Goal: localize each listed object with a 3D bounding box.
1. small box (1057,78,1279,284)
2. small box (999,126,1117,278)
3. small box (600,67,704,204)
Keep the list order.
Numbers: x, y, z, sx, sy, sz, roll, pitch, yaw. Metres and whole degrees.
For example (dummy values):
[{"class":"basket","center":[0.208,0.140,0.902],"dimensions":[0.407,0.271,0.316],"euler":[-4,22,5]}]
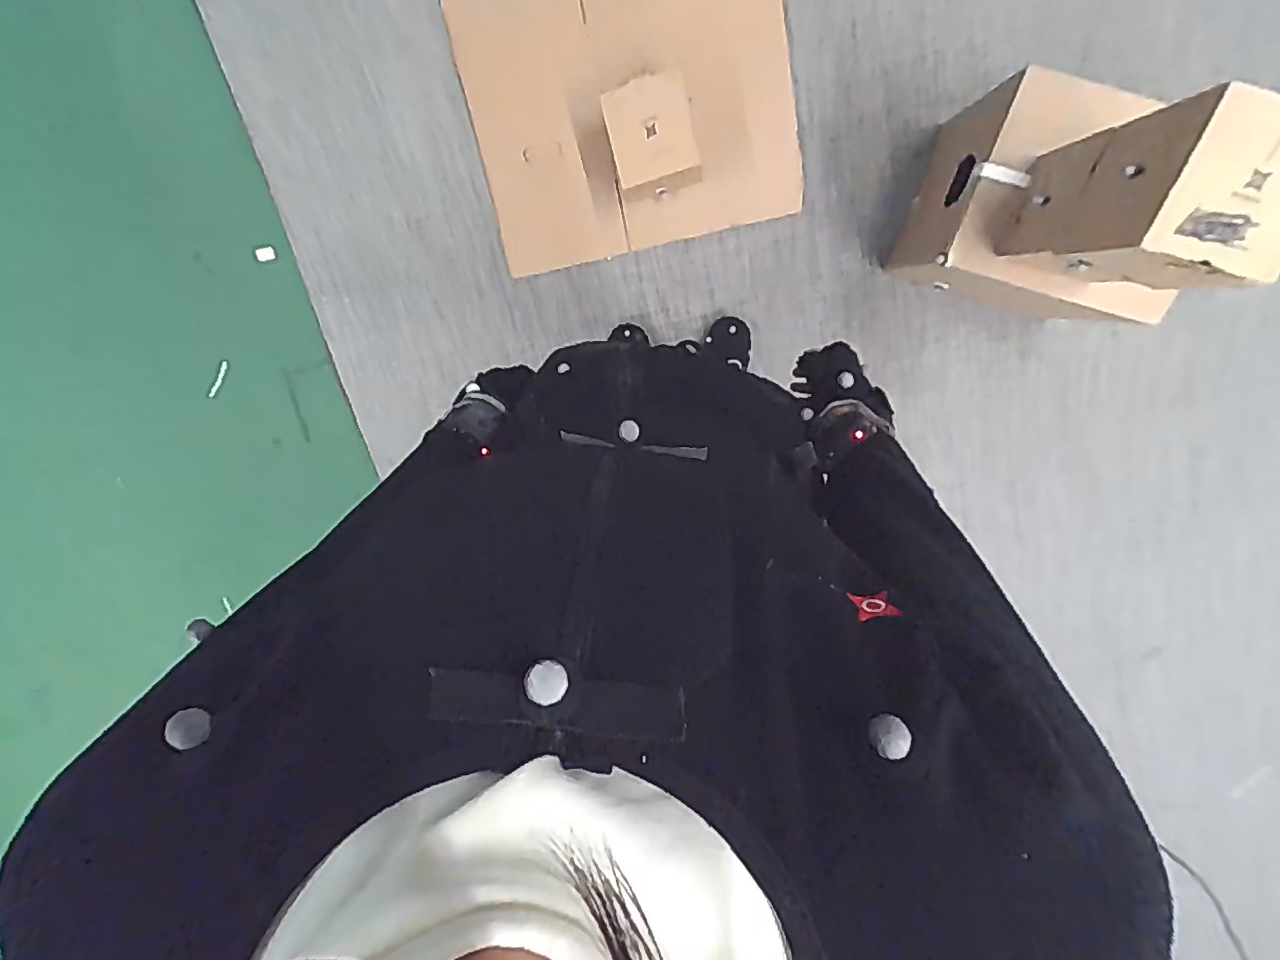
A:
[{"class":"small box","center":[0.689,-0.359,0.689],"dimensions":[0.168,0.176,0.179],"euler":[17,108,-1]},{"class":"small box","center":[0.711,-0.419,0.844],"dimensions":[0.179,0.176,0.168],"euler":[12,108,1]},{"class":"small box","center":[0.032,-0.700,1.123],"dimensions":[0.168,0.176,0.179],"euler":[-13,107,13]}]
